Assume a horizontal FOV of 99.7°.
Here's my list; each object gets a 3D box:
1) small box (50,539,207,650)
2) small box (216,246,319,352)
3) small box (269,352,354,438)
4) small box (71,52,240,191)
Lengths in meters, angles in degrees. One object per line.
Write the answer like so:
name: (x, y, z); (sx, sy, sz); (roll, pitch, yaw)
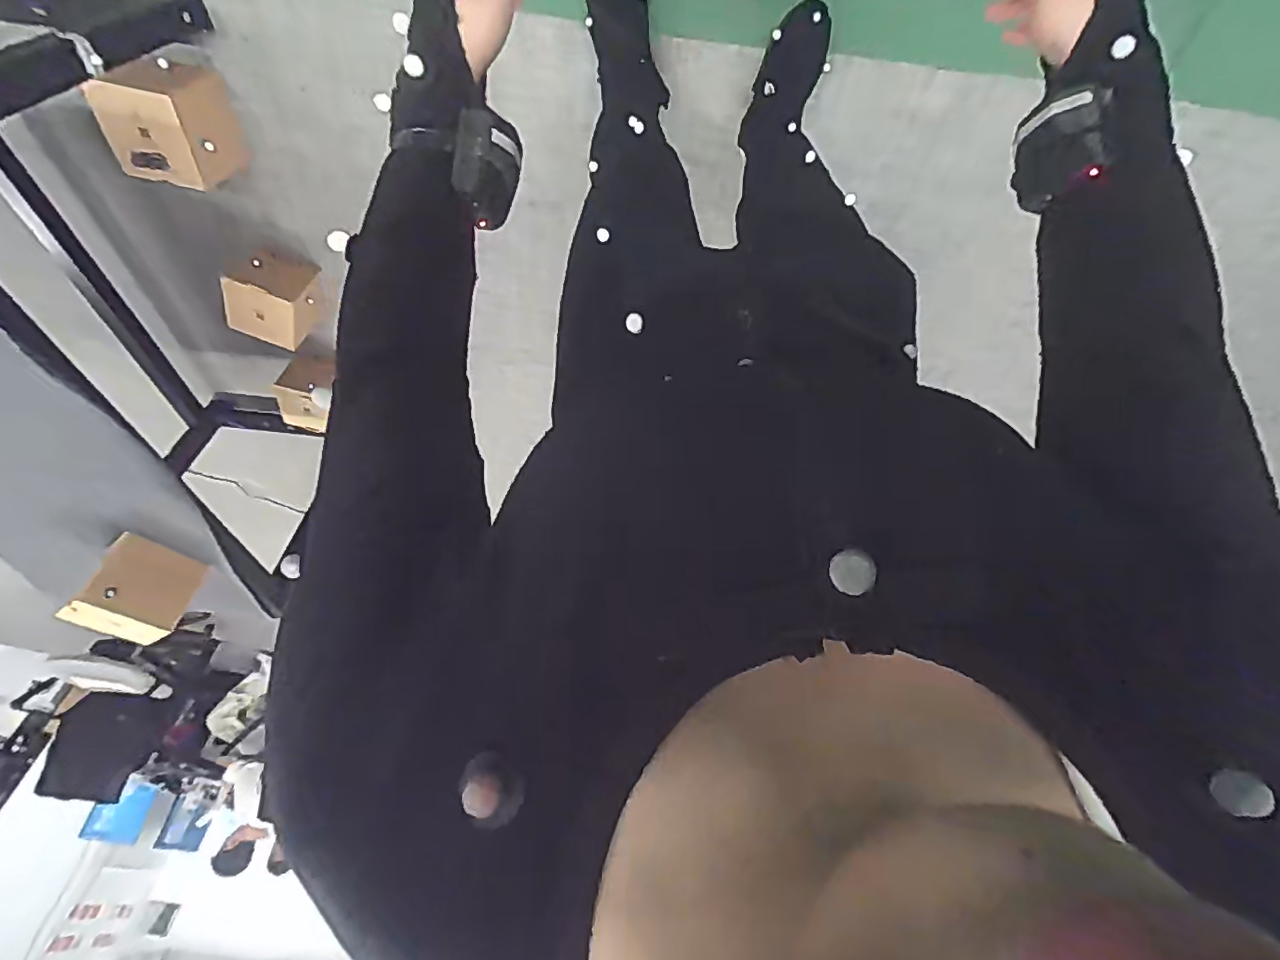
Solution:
small box: (-1.113, 0.252, 1.189); (0.168, 0.176, 0.179); (-23, 133, 30)
small box: (-0.972, -0.480, 1.426); (0.168, 0.176, 0.179); (20, 140, -17)
small box: (-1.019, -0.267, 1.697); (0.168, 0.176, 0.179); (14, 141, -11)
small box: (-0.971, -0.734, 1.109); (0.168, 0.176, 0.179); (10, 140, -6)
